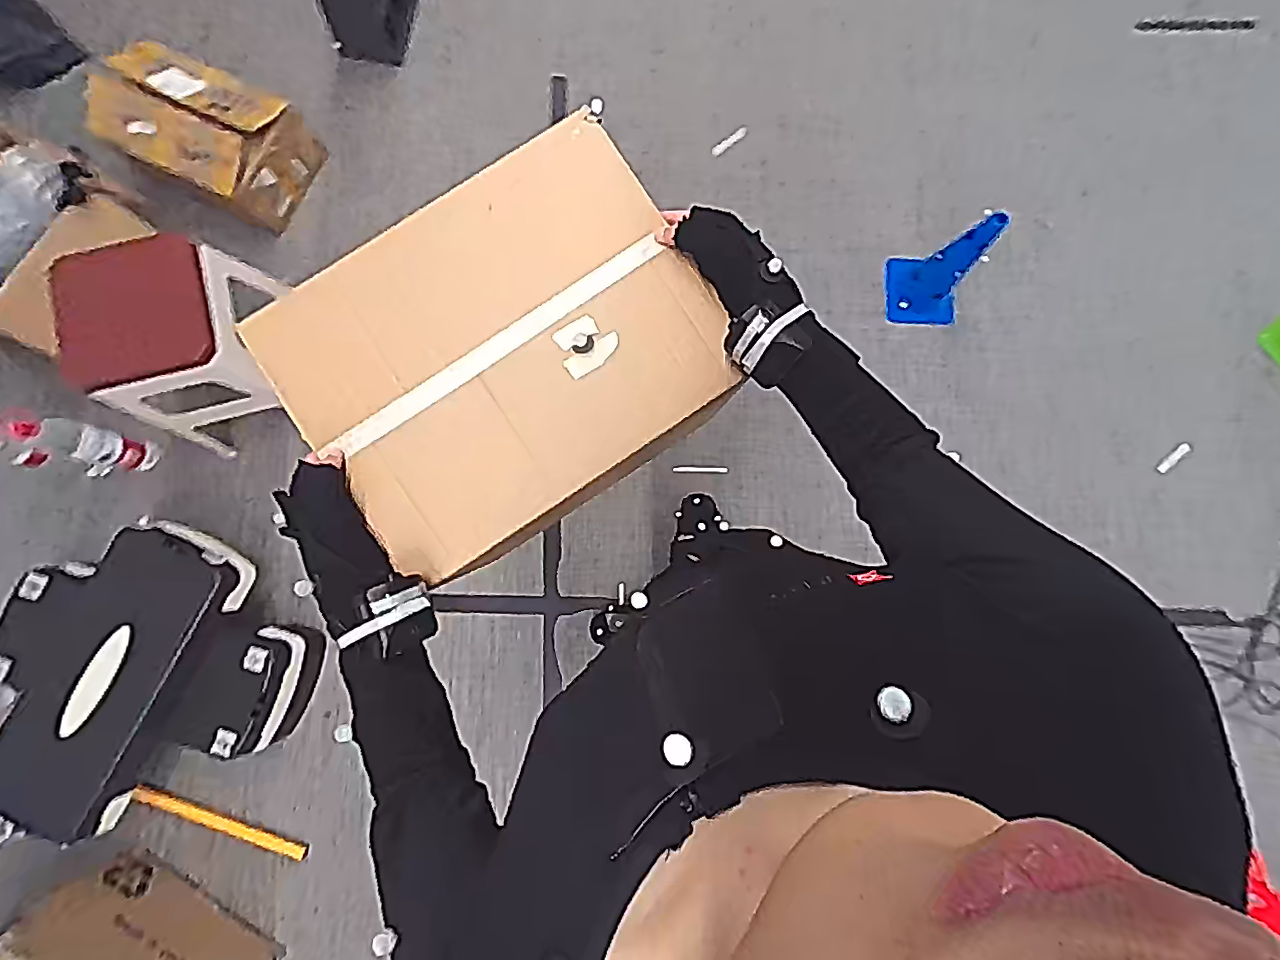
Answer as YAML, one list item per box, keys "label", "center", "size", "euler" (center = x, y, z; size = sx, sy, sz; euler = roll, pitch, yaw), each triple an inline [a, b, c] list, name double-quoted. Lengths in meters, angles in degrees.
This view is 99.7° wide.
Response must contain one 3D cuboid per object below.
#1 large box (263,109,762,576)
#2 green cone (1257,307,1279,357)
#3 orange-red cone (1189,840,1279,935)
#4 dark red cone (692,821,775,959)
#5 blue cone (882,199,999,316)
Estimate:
- label: "large box"
  center: [-0.127, -0.130, 0.676]
  size: [0.408, 0.320, 0.320]
  euler: [-33, 89, -3]
- label: "green cone"
  center: [1.937, -0.448, 1.411]
  size: [0.200, 0.368, 0.202]
  euler: [-37, 83, -5]
- label: "orange-red cone"
  center: [1.536, 1.026, 1.234]
  size: [0.199, 0.360, 0.198]
  euler: [-2, 84, -2]
- label: "dark red cone"
  center: [0.238, 0.951, 1.205]
  size: [0.202, 0.394, 0.201]
  euler: [6, 82, 0]
- label: "blue cone"
  center: [0.815, -0.600, 1.435]
  size: [0.193, 0.380, 0.192]
  euler: [3, 82, 0]
